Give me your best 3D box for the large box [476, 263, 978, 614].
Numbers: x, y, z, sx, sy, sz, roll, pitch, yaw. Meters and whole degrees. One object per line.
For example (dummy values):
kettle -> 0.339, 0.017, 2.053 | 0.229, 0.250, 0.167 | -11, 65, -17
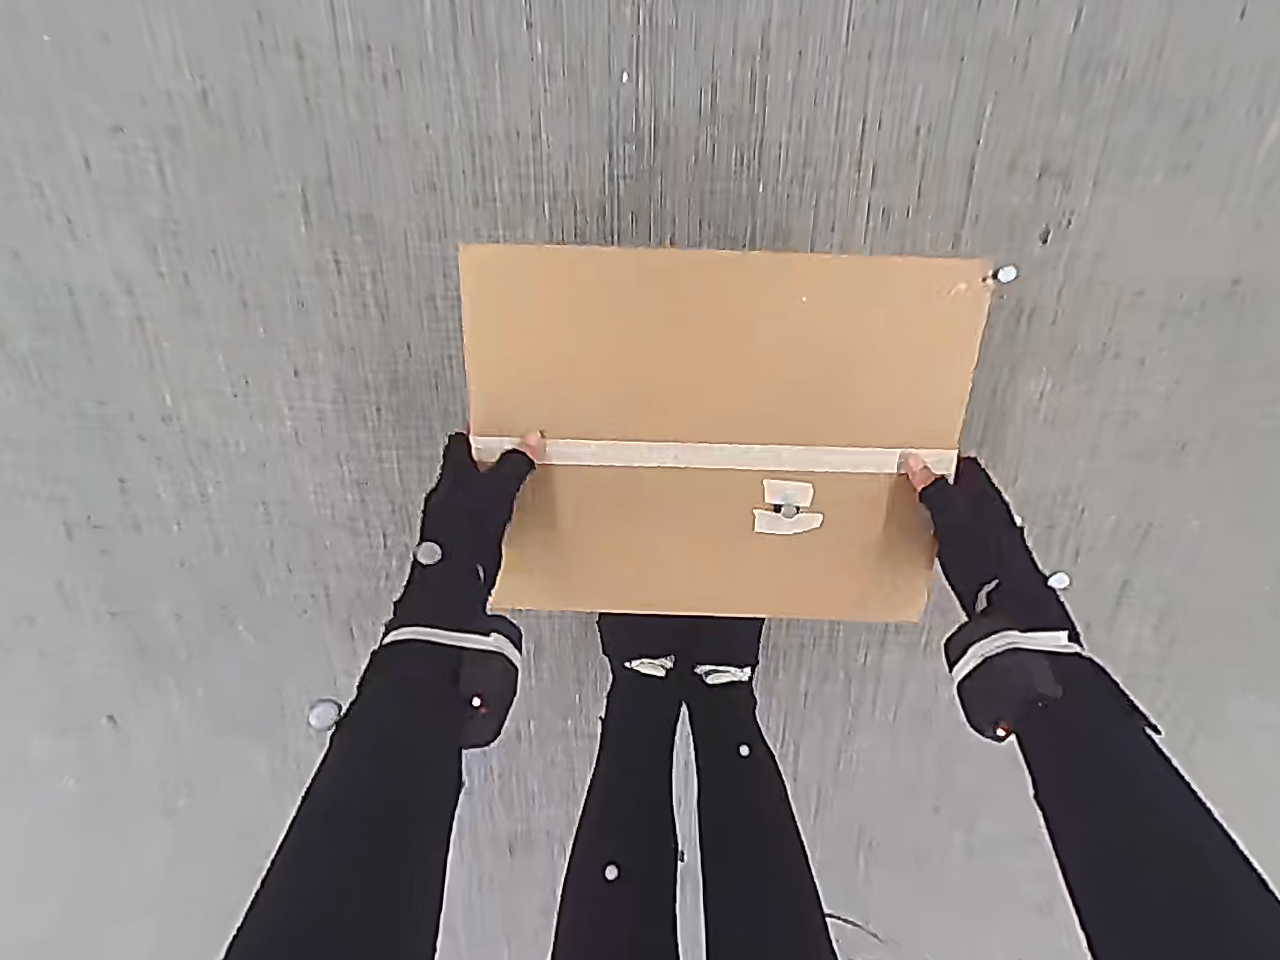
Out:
large box -> 0.067, -0.063, 0.610 | 0.408, 0.320, 0.320 | 1, 108, 0
